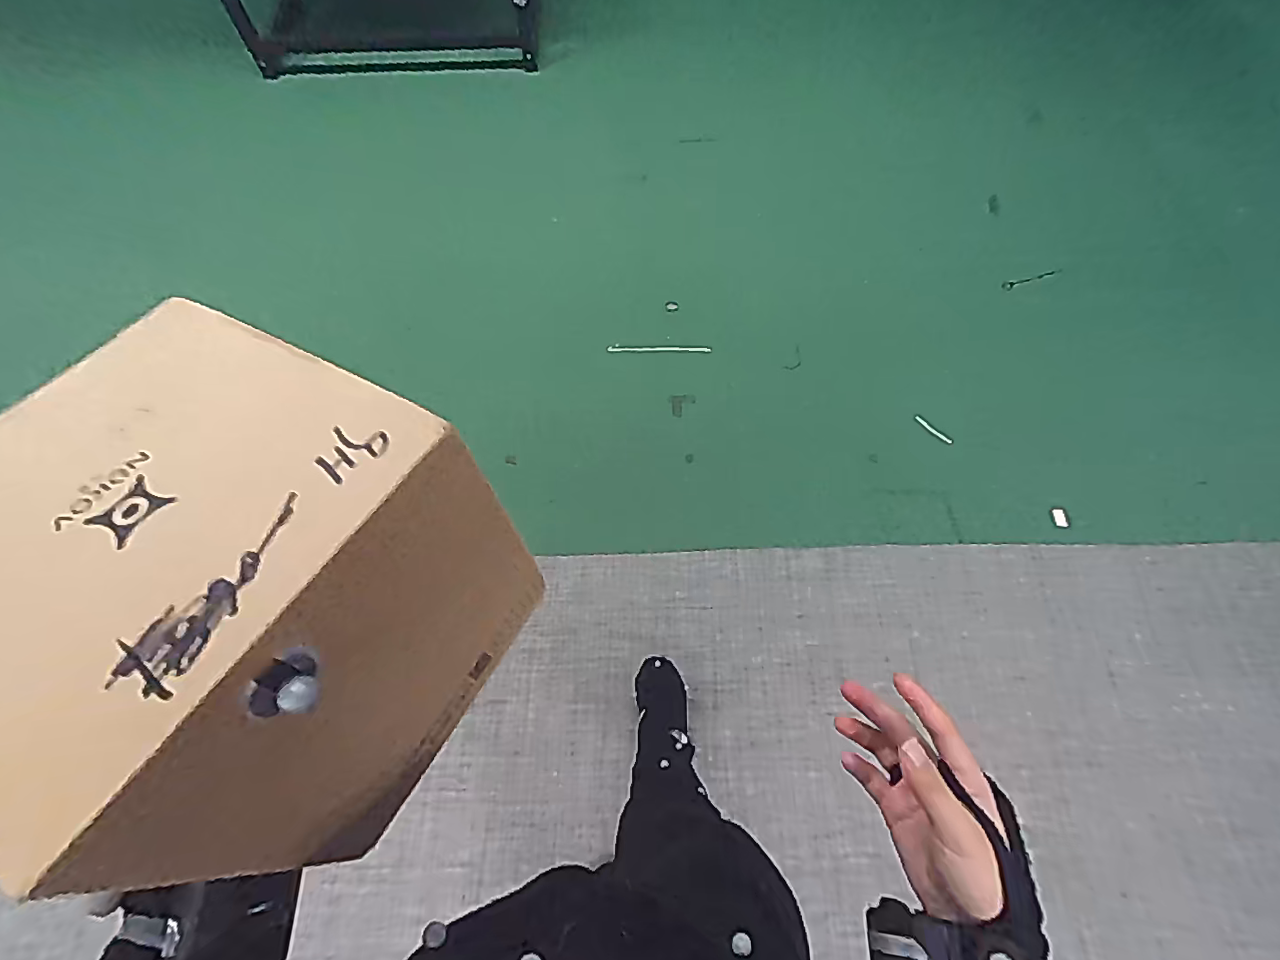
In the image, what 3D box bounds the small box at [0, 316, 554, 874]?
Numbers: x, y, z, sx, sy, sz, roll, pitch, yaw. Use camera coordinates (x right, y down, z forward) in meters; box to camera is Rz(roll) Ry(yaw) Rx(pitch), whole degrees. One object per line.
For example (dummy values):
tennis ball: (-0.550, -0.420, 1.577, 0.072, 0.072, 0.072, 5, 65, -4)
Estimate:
small box: (-0.169, 0.055, 0.268, 0.179, 0.176, 0.168, 23, 63, 18)
